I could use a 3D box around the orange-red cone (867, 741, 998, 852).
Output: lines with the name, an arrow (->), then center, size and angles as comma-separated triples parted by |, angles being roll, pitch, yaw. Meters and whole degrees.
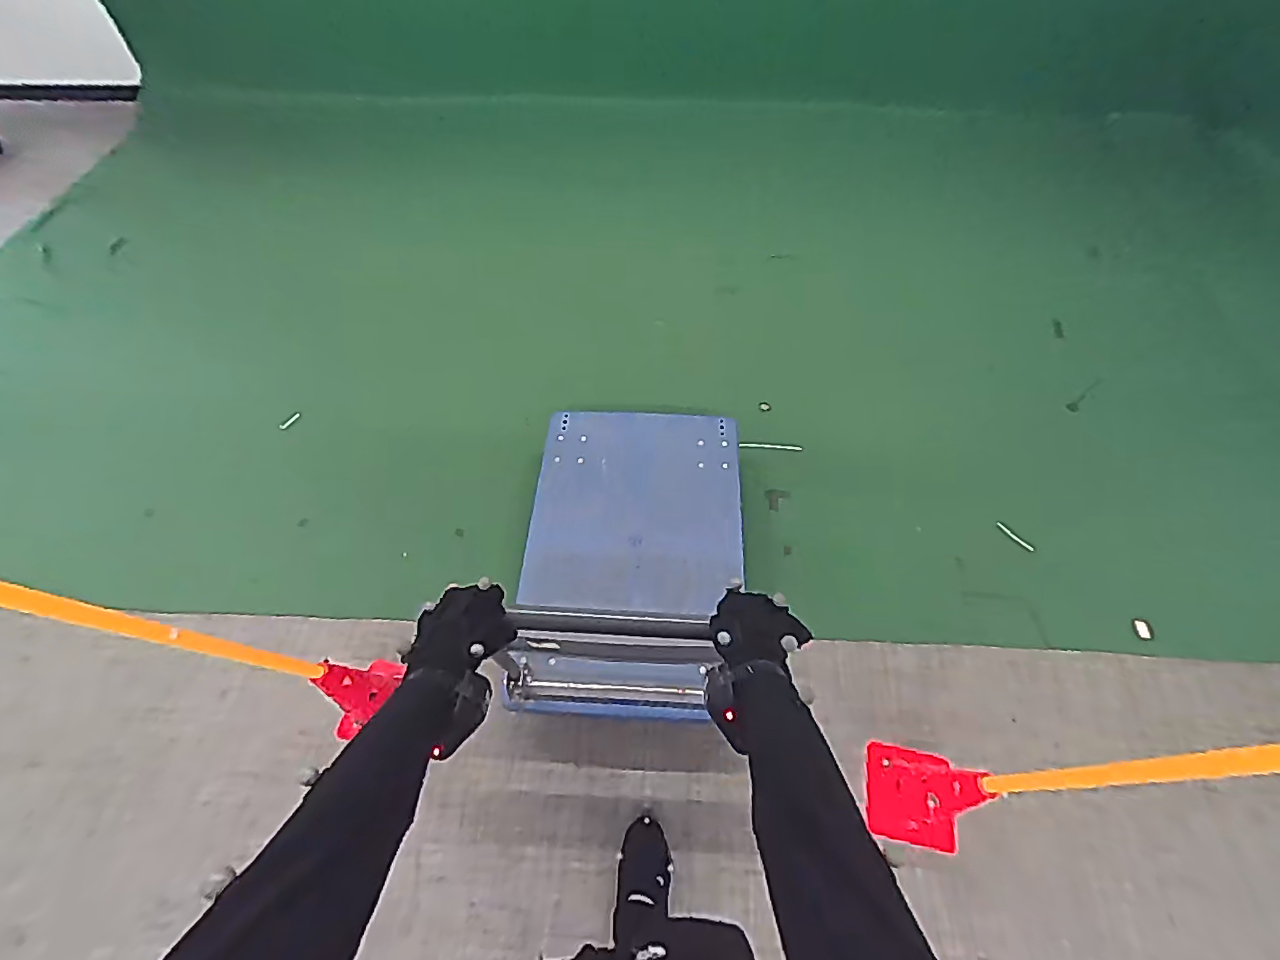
orange-red cone -> 0.629, 0.641, 1.116 | 0.198, 0.360, 0.199 | 11, 59, 9
